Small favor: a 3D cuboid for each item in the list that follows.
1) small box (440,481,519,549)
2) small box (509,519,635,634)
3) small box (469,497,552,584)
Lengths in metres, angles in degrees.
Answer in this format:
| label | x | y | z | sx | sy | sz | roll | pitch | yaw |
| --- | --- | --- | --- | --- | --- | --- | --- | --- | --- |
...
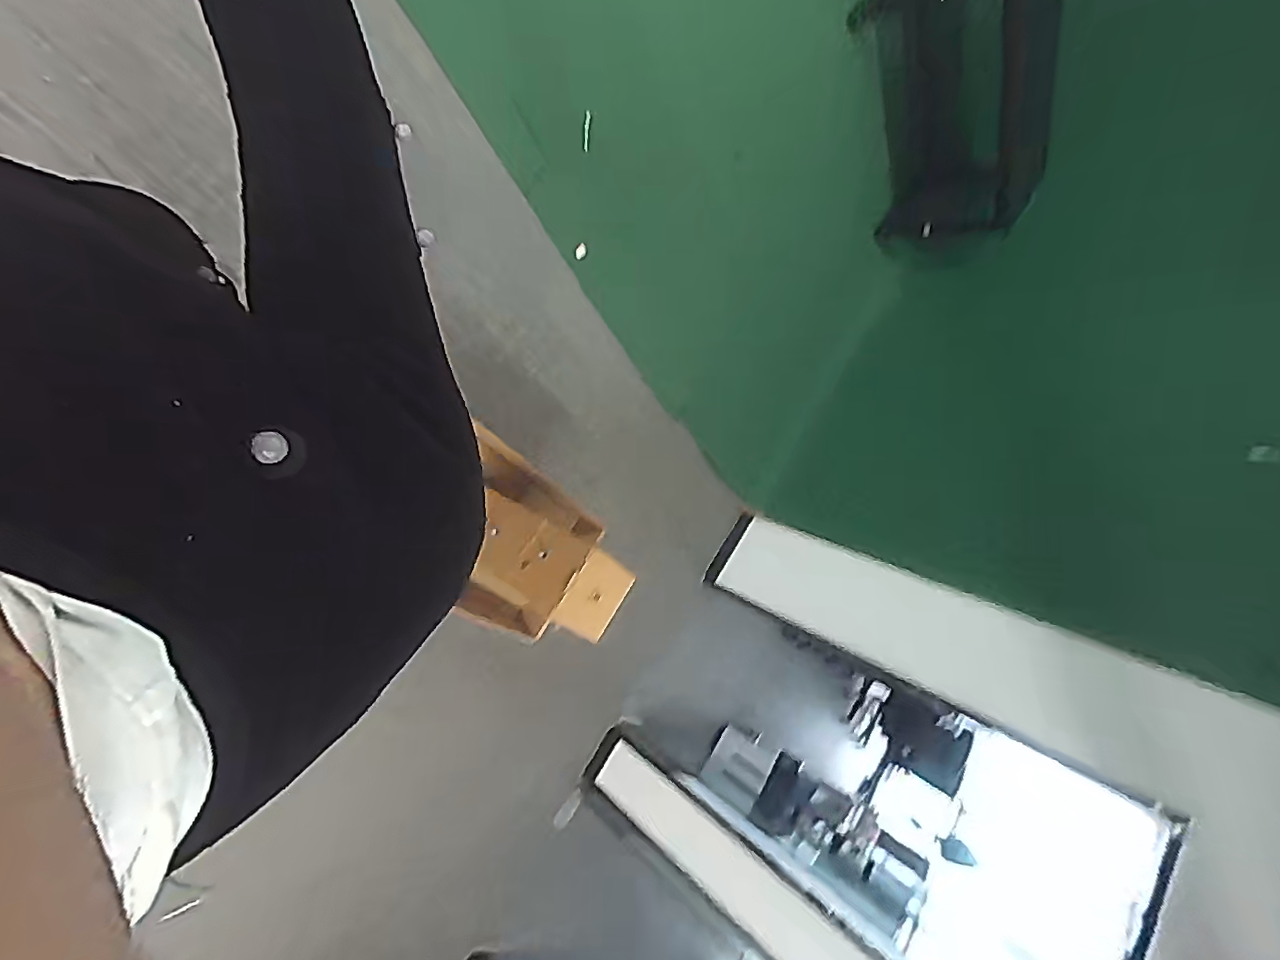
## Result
| label | x | y | z | sx | sy | sz | roll | pitch | yaw |
| --- | --- | --- | --- | --- | --- | --- | --- | --- | --- |
| small box | -0.379 | 0.119 | 1.401 | 0.168 | 0.176 | 0.179 | -57 | 140 | -13 |
| small box | -0.148 | 0.208 | 1.187 | 0.168 | 0.176 | 0.179 | -58 | 138 | -12 |
| small box | -0.267 | 0.161 | 1.287 | 0.168 | 0.176 | 0.179 | -58 | 139 | -13 |
